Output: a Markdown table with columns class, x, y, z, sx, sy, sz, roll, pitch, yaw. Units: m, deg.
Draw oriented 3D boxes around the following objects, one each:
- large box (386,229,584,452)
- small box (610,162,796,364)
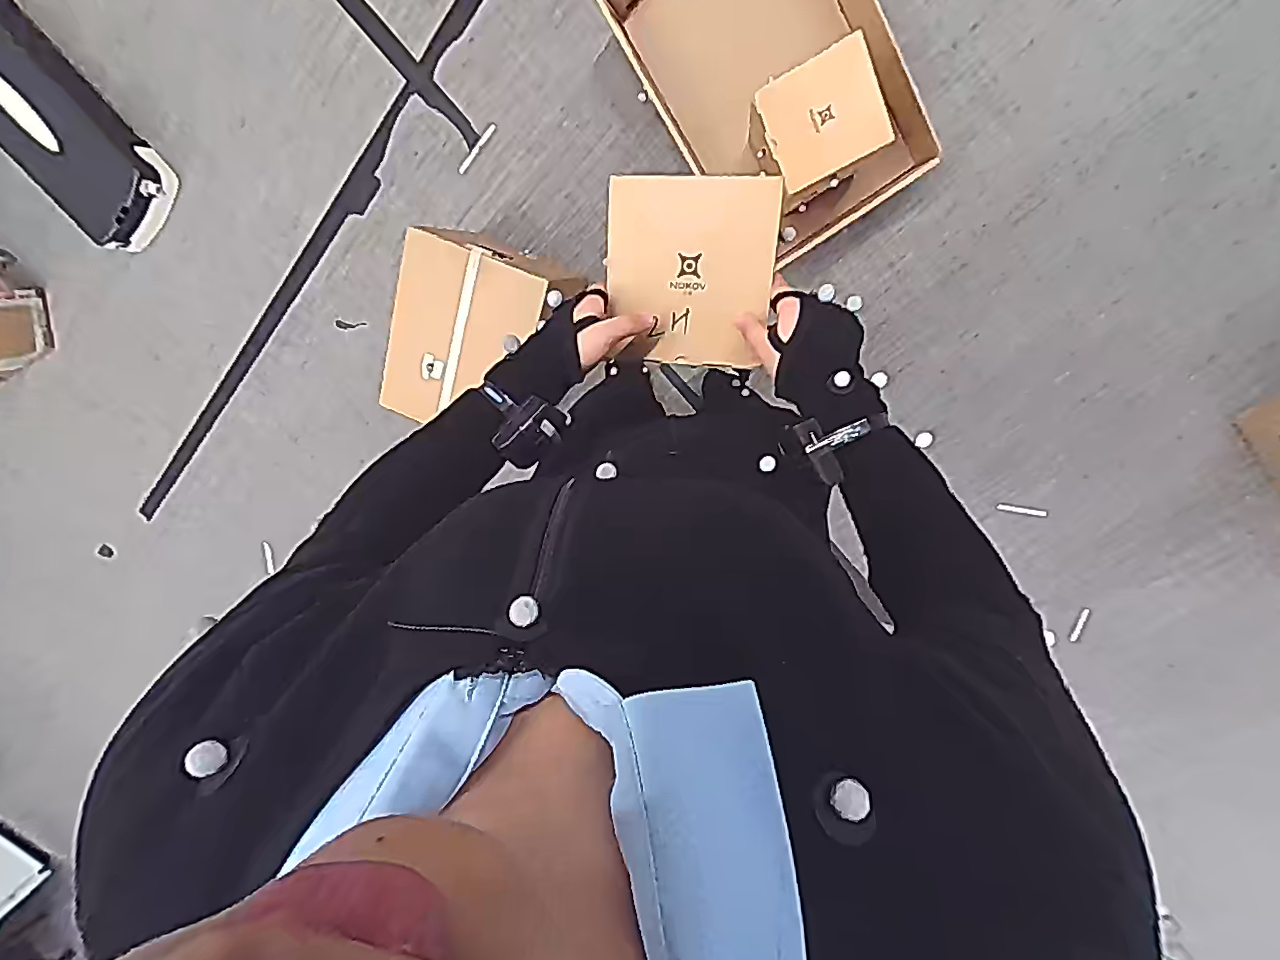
| class | x | y | z | sx | sy | sz | roll | pitch | yaw |
| --- | --- | --- | --- | --- | --- | --- | --- | --- | --- |
| large box | -0.360 | -0.344 | 1.296 | 0.320 | 0.320 | 0.408 | 22 | 115 | 2 |
| small box | 0.071 | -0.231 | 0.594 | 0.168 | 0.176 | 0.179 | 7 | 110 | 11 |
